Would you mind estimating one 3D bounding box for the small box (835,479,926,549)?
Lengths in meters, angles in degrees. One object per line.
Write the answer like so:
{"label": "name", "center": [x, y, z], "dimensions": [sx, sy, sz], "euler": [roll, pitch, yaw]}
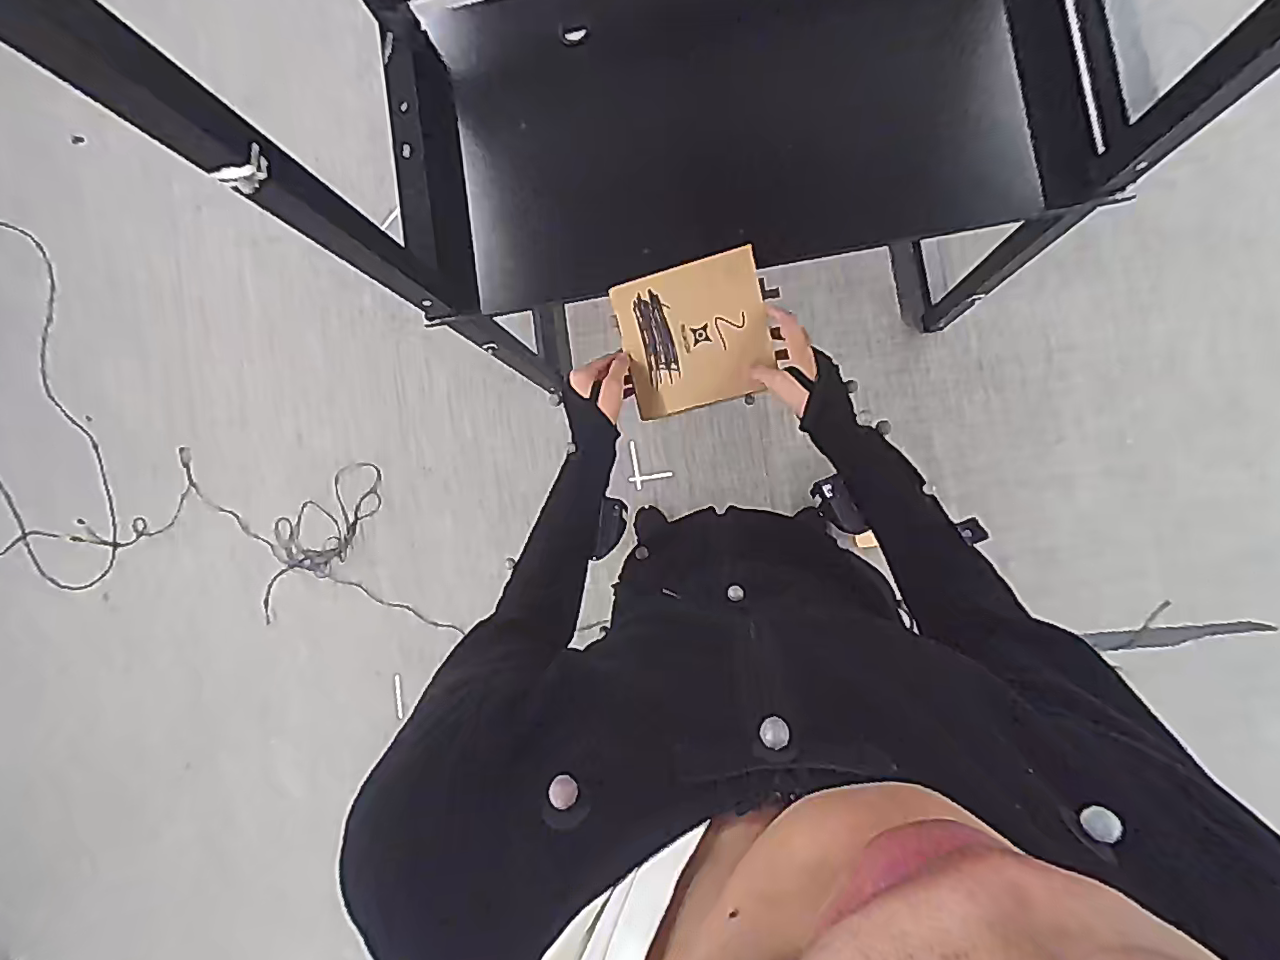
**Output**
{"label": "small box", "center": [0.655, 0.092, 1.489], "dimensions": [0.179, 0.176, 0.168], "euler": [-10, 86, 8]}
